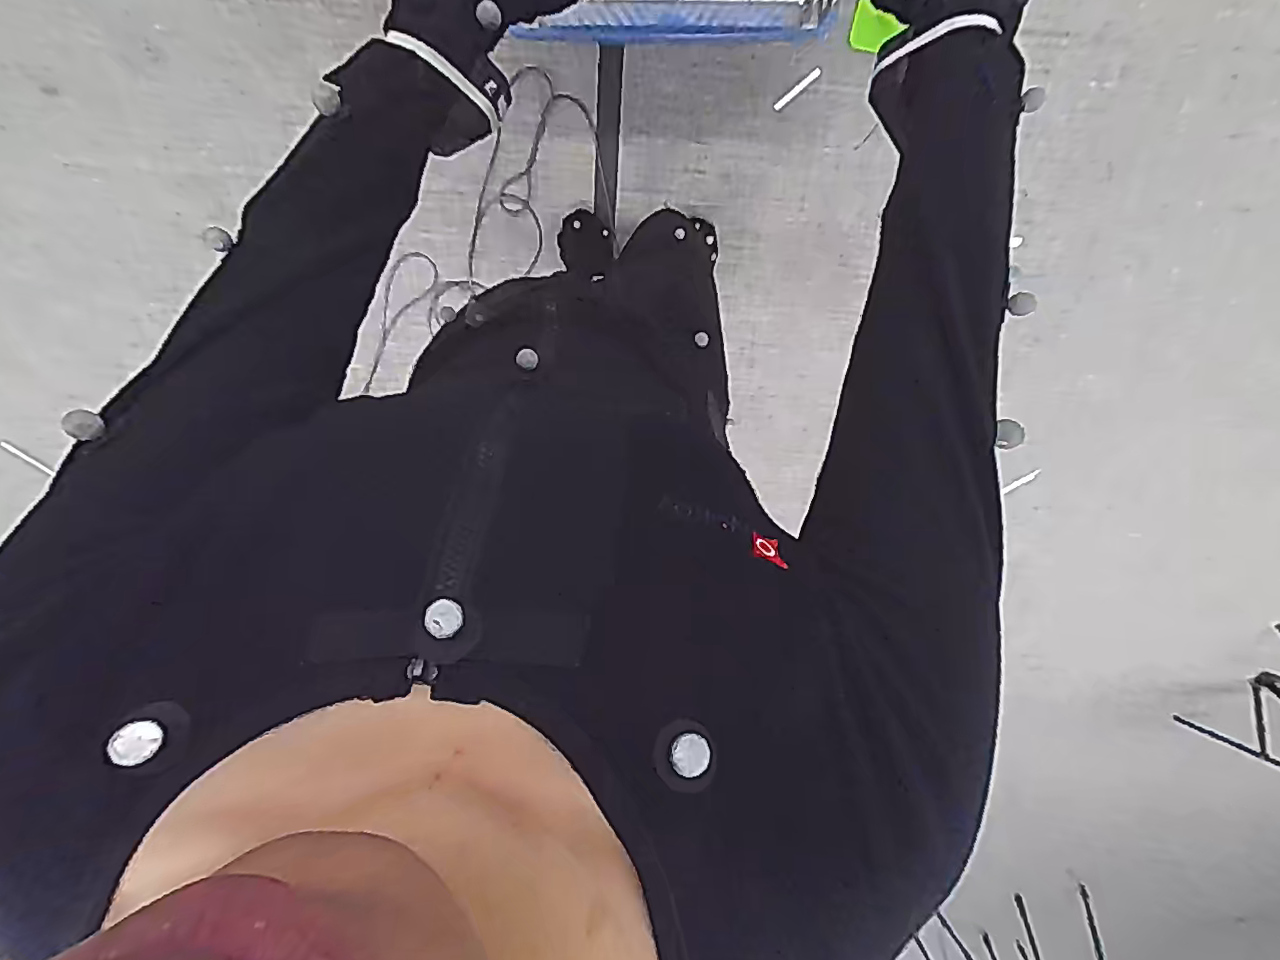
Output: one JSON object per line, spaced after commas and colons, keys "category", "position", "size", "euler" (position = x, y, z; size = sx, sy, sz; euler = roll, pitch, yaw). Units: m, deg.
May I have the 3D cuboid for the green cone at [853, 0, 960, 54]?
{"category": "green cone", "position": [0.534, -0.856, 0.887], "size": [0.202, 0.368, 0.200], "euler": [5, 123, -7]}
